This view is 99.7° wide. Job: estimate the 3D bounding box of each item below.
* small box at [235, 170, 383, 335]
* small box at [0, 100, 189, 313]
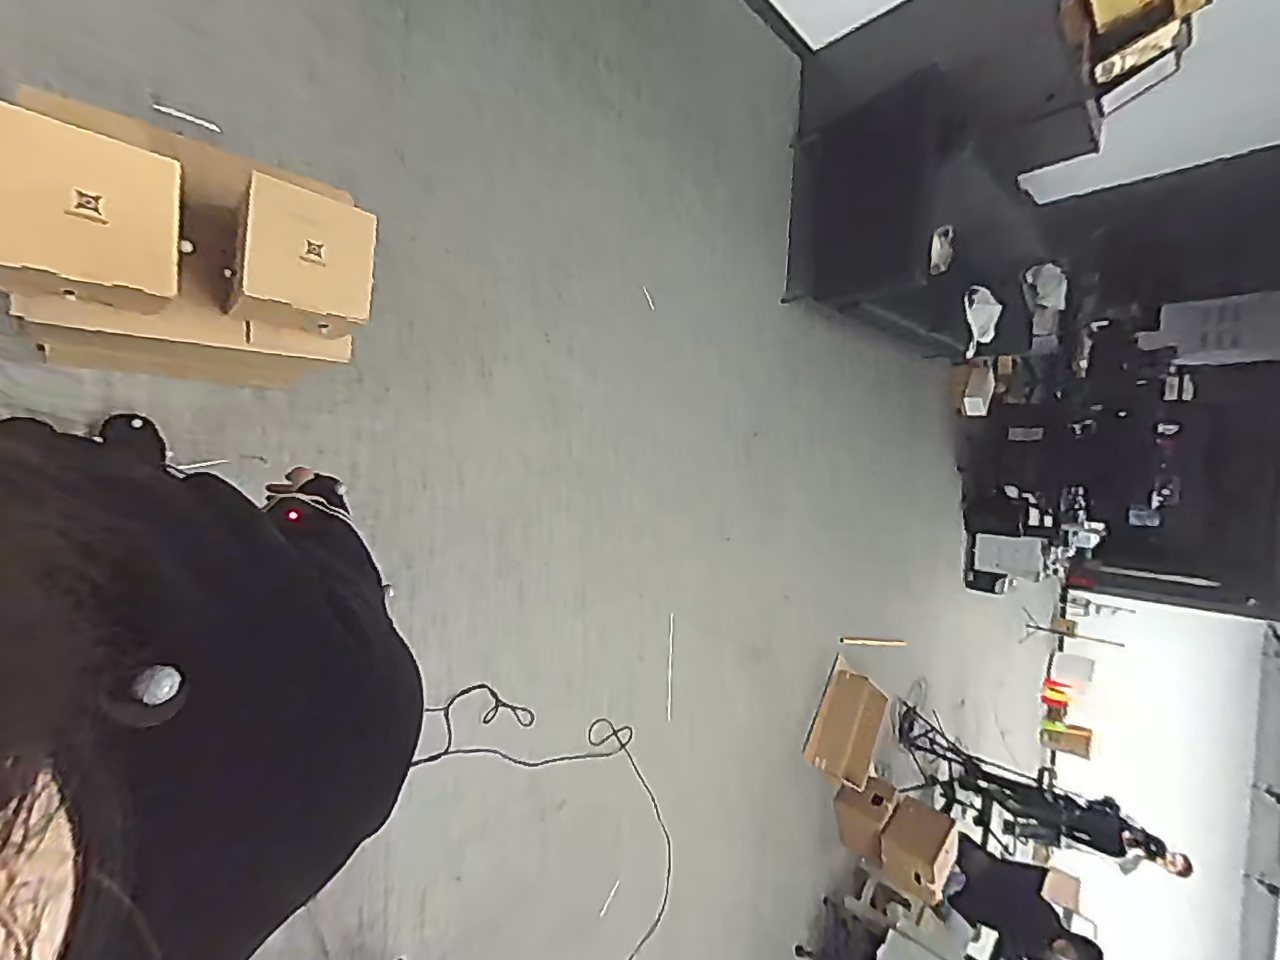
[{"bbox_3d":[-0.528,-0.342,0.858,0.168,0.176,0.179,5,89,-43],"label":"small box"},{"bbox_3d":[-0.699,-0.328,0.694,0.168,0.176,0.179,0,95,-46],"label":"small box"}]
